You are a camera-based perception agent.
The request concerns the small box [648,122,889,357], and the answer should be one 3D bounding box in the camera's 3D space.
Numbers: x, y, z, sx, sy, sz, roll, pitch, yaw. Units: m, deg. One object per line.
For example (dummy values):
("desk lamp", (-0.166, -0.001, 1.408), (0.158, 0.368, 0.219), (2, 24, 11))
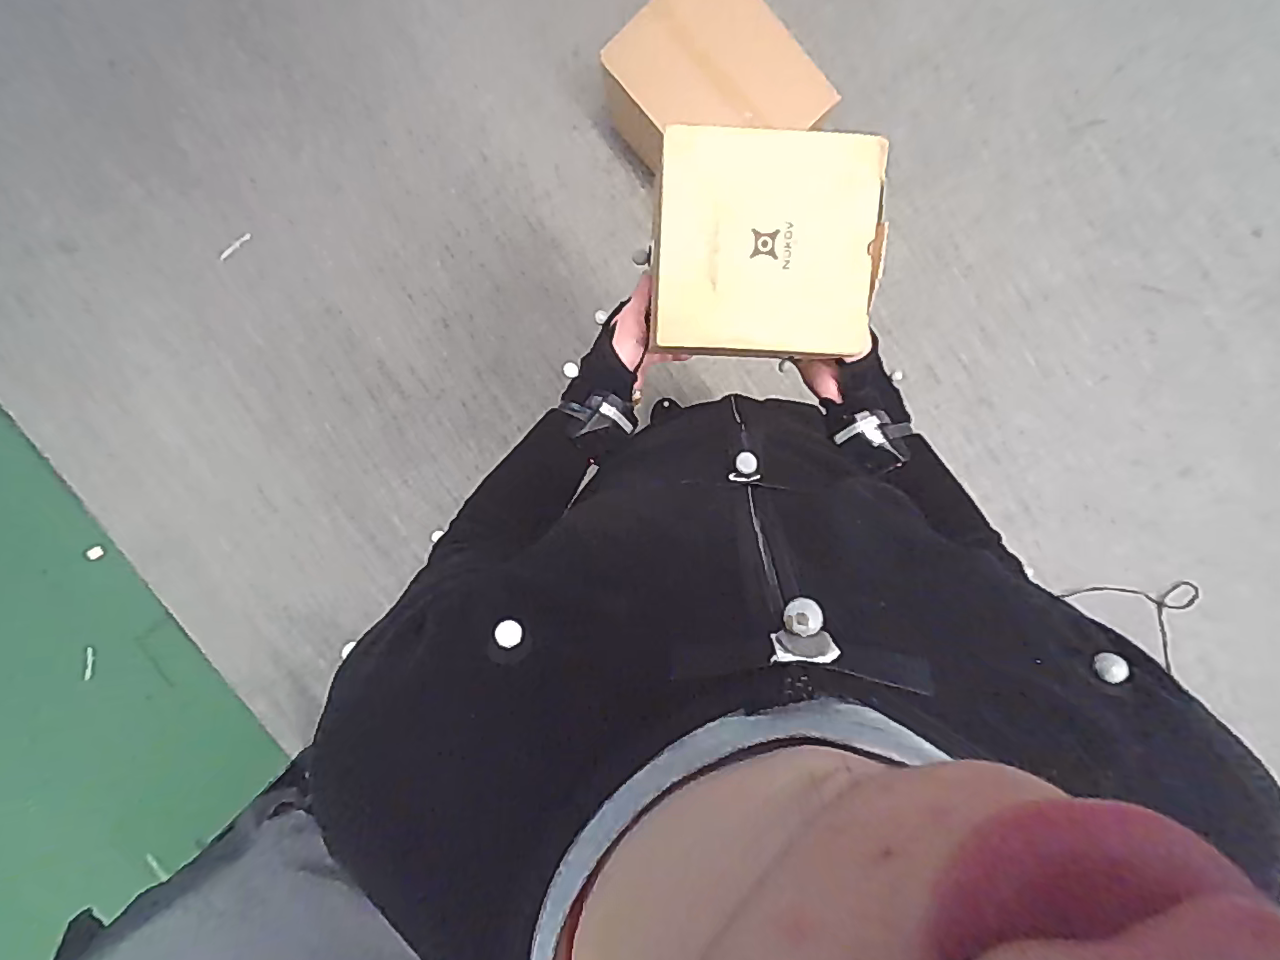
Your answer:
("small box", (0.100, -0.204, 0.505), (0.179, 0.176, 0.168), (1, 101, -1))
